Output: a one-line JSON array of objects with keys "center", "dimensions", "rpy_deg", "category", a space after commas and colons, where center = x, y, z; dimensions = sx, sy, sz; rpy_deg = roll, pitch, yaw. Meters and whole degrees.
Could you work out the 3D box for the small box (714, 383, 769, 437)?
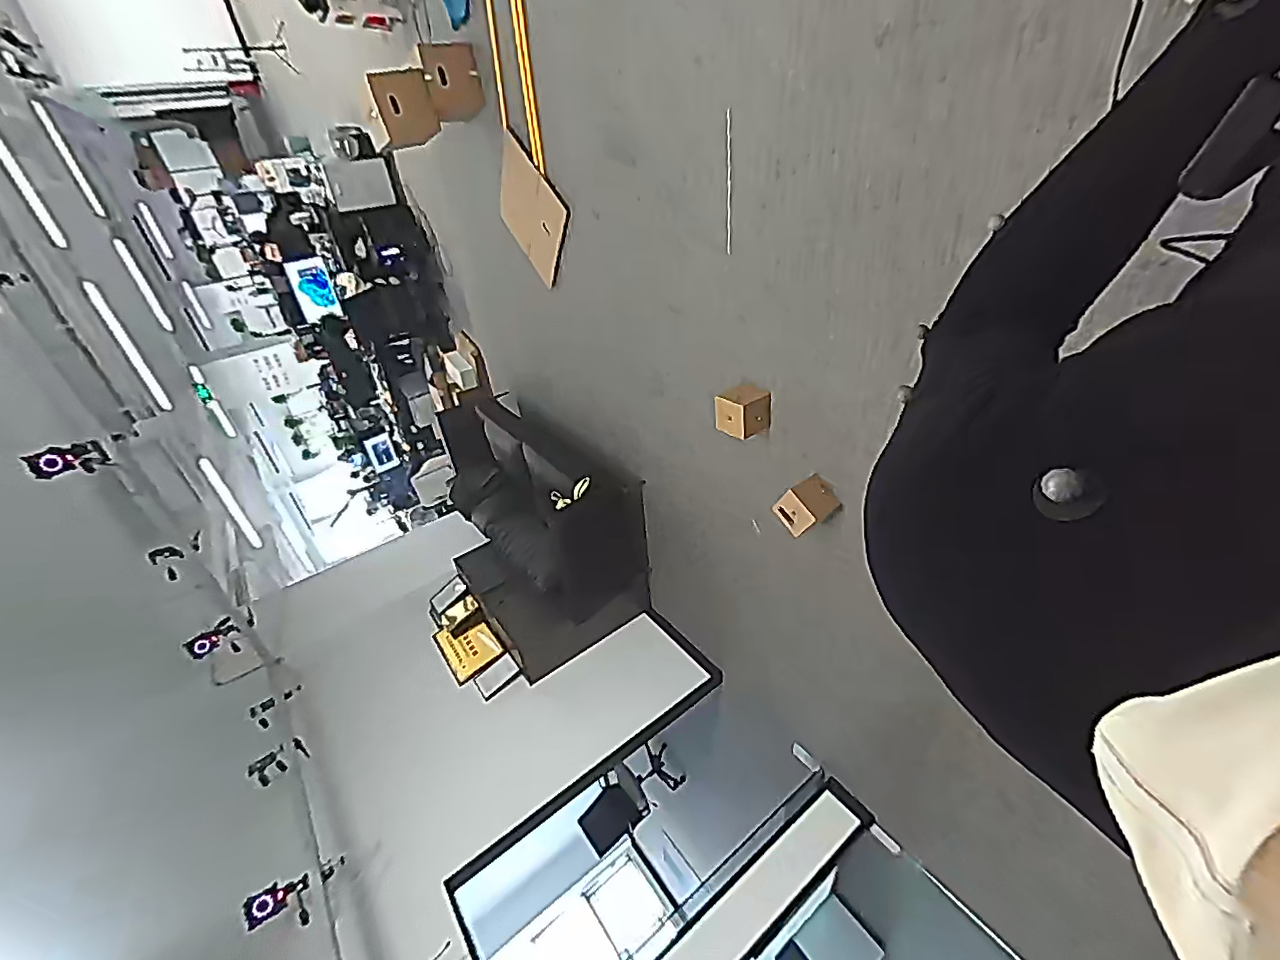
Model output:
[{"center": [0.449, -0.314, 2.373], "dimensions": [0.179, 0.176, 0.168], "rpy_deg": [32, 139, 46], "category": "small box"}]
